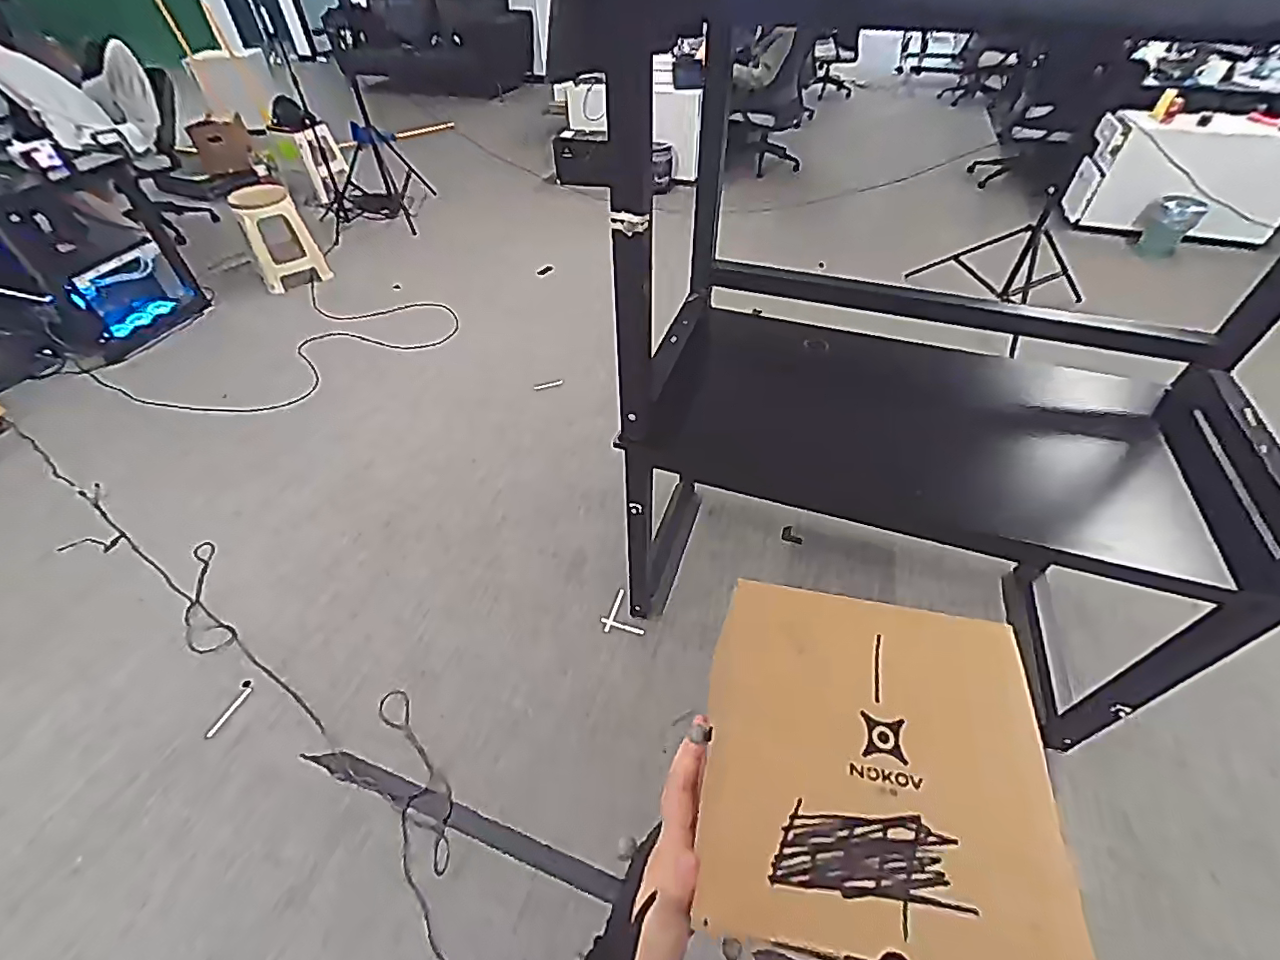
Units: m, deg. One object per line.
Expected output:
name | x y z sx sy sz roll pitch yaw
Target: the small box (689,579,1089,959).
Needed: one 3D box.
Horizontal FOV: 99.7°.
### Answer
small box | 0.125 0.190 0.343 0.168 0.176 0.179 9 52 7
